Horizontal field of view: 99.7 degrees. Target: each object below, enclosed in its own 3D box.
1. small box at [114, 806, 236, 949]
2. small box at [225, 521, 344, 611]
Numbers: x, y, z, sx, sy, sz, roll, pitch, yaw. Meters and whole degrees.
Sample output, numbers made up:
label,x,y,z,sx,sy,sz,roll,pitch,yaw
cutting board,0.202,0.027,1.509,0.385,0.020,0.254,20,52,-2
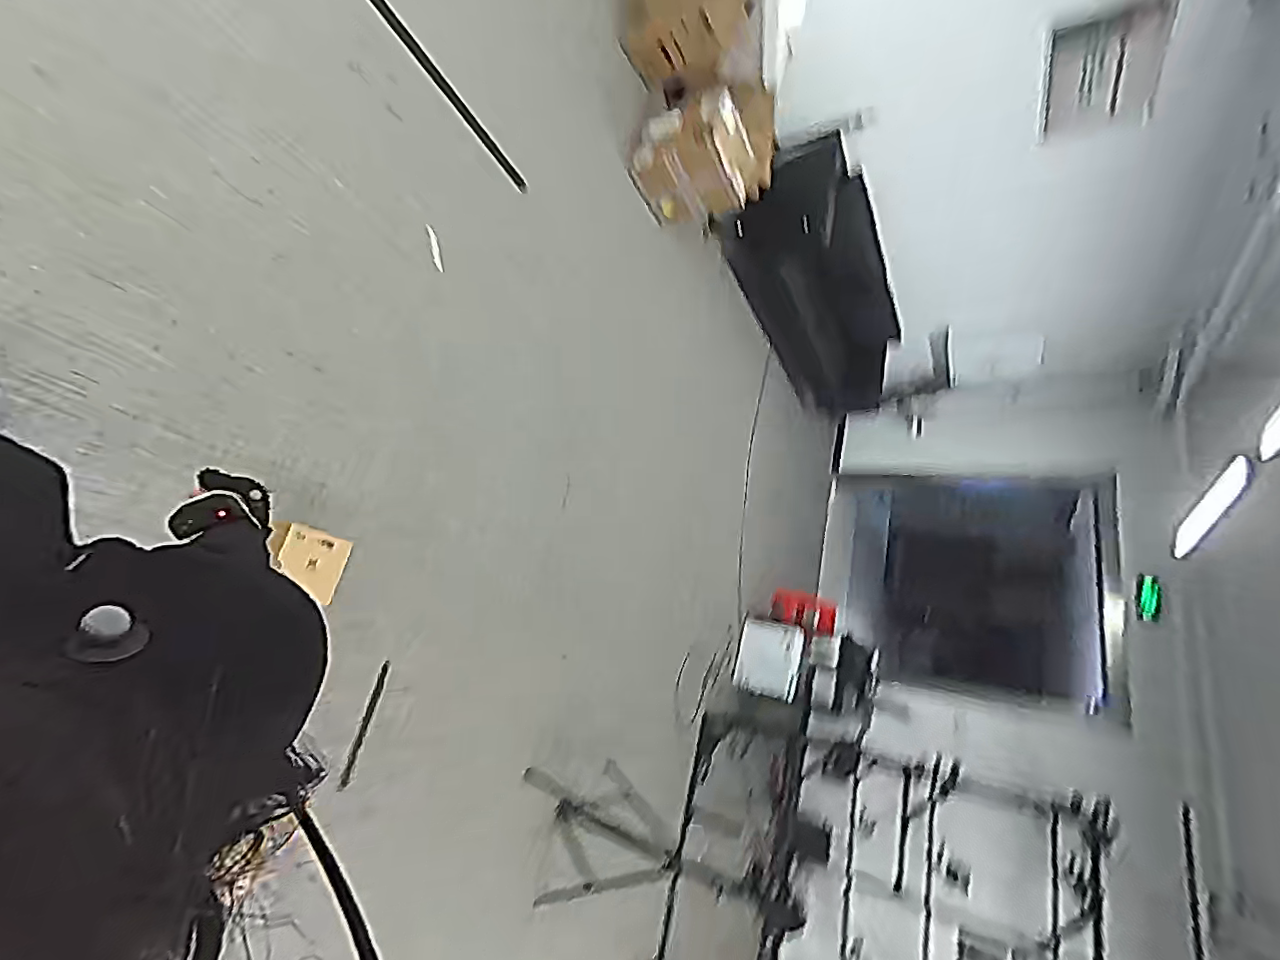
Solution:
label,x,y,z,sx,sy,sz,roll,pitch,yaw
small box,-1.020,0.851,1.187,0.168,0.176,0.179,1,92,-57
small box,-0.897,0.214,1.359,0.168,0.176,0.179,41,57,-51
